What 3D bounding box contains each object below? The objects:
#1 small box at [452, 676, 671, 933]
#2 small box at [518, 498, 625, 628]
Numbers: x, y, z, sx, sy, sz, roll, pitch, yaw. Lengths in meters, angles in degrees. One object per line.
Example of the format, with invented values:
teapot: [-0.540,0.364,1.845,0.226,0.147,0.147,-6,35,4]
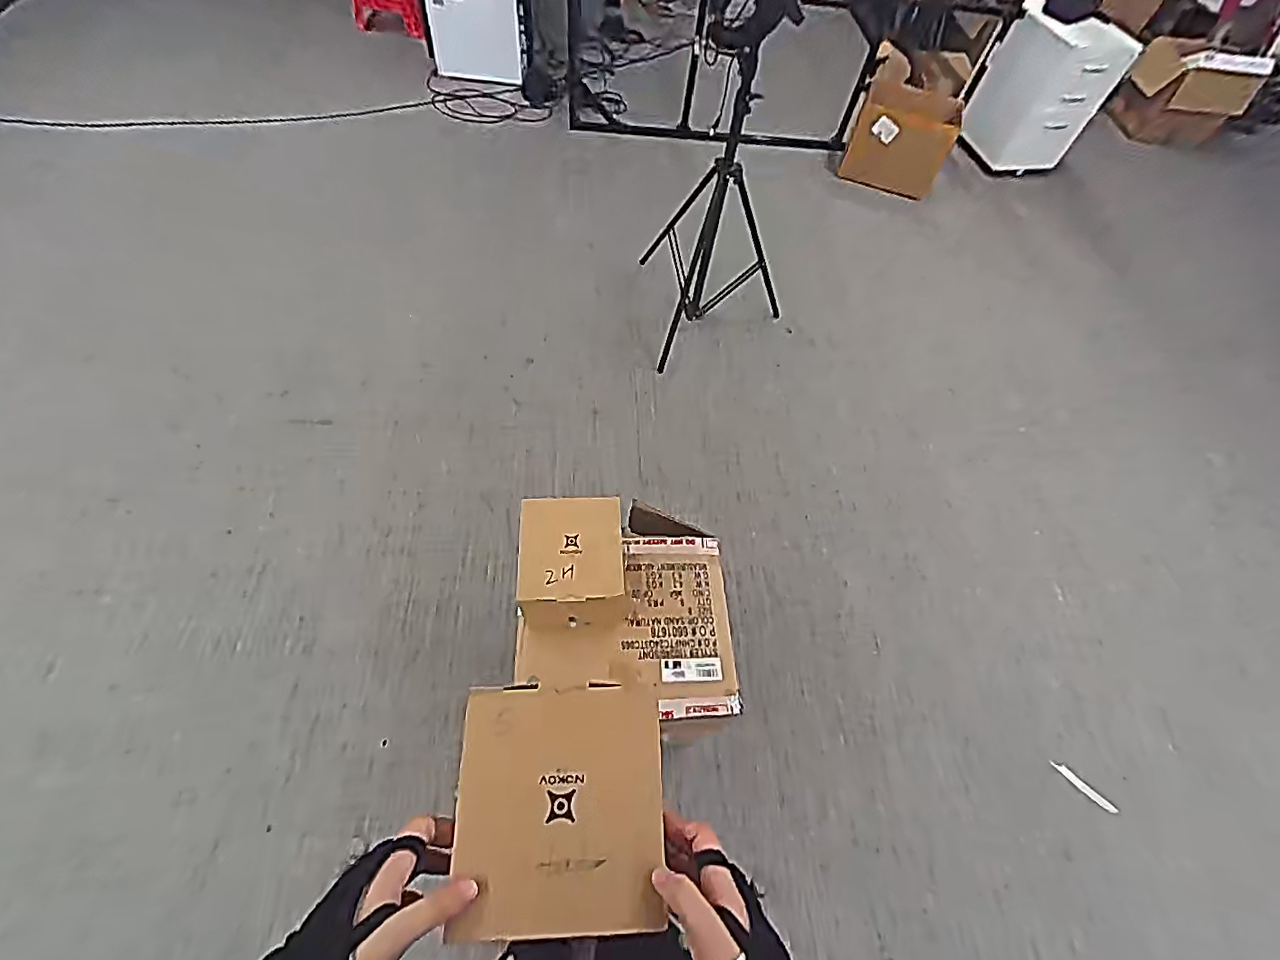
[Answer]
small box: [-0.065,0.288,0.509,0.168,0.176,0.179,-1,65,-3]
small box: [-0.115,0.146,0.931,0.168,0.176,0.179,-1,62,-5]
